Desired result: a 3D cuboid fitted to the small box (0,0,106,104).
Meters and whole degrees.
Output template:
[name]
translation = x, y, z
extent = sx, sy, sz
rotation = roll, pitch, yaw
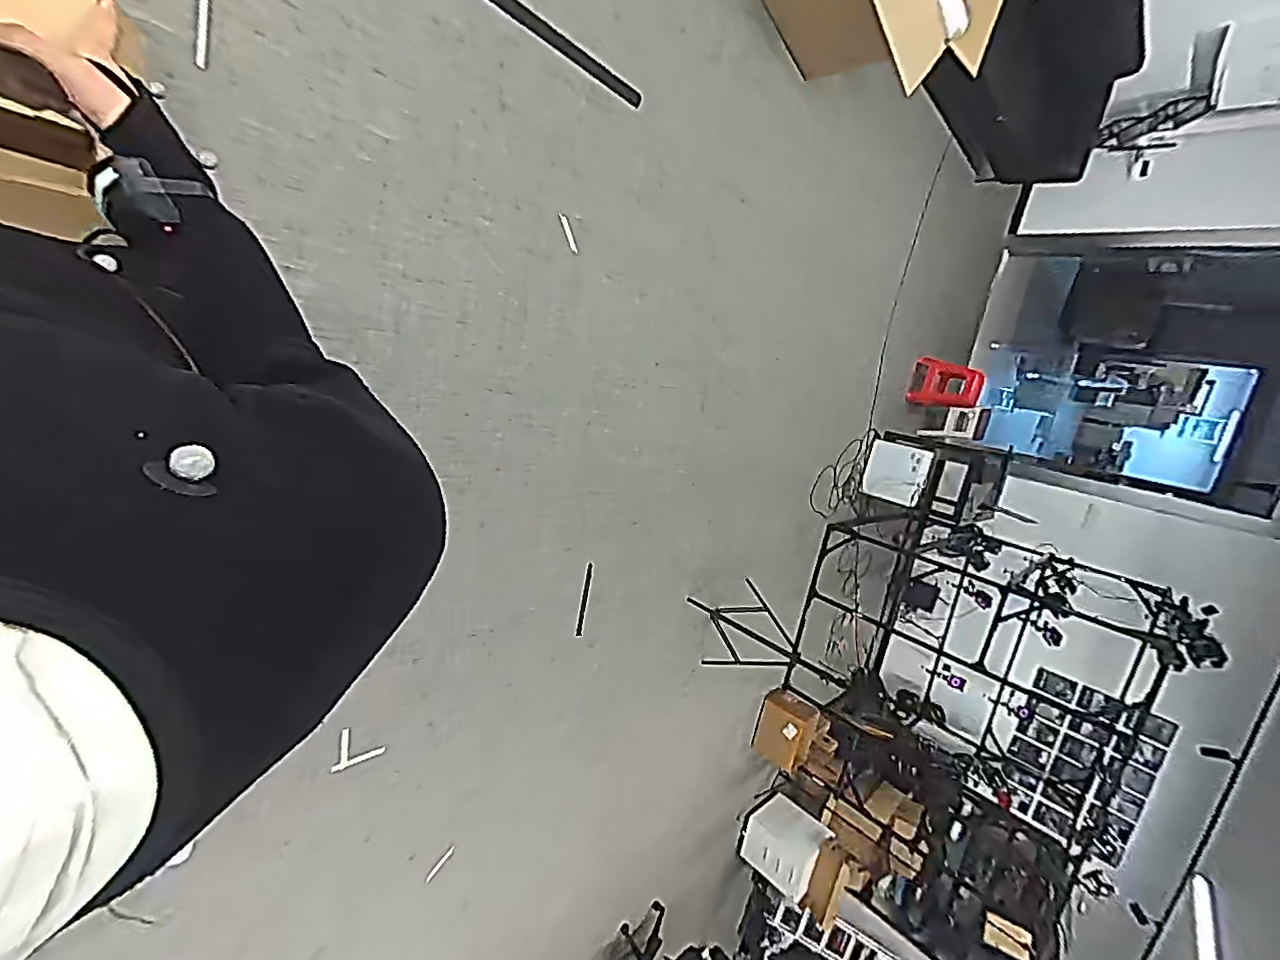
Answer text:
[small box]
translation = -0.545, -0.430, 0.414
extent = 0.168, 0.176, 0.179
rotation = 1, 103, -58
